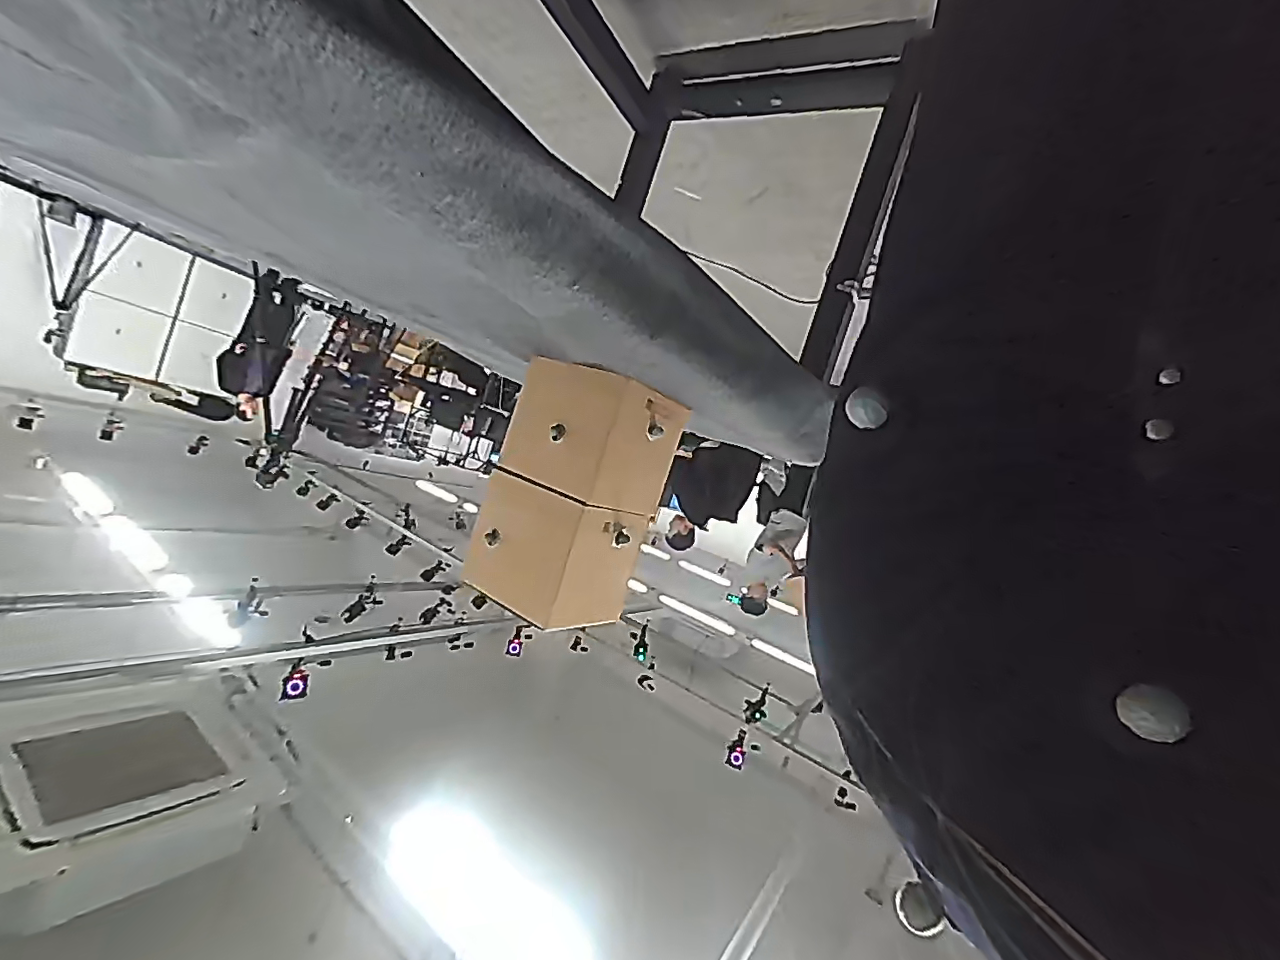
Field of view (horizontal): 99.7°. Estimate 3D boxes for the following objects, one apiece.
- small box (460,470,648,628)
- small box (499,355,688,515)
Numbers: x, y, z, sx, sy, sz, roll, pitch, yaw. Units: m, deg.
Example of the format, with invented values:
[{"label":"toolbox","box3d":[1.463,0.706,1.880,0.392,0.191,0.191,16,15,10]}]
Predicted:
[{"label":"small box","box3d":[-0.115,0.088,0.762,0.179,0.176,0.168,19,-178,33]},{"label":"small box","box3d":[-0.060,-0.064,0.762,0.179,0.176,0.168,19,-178,34]}]
